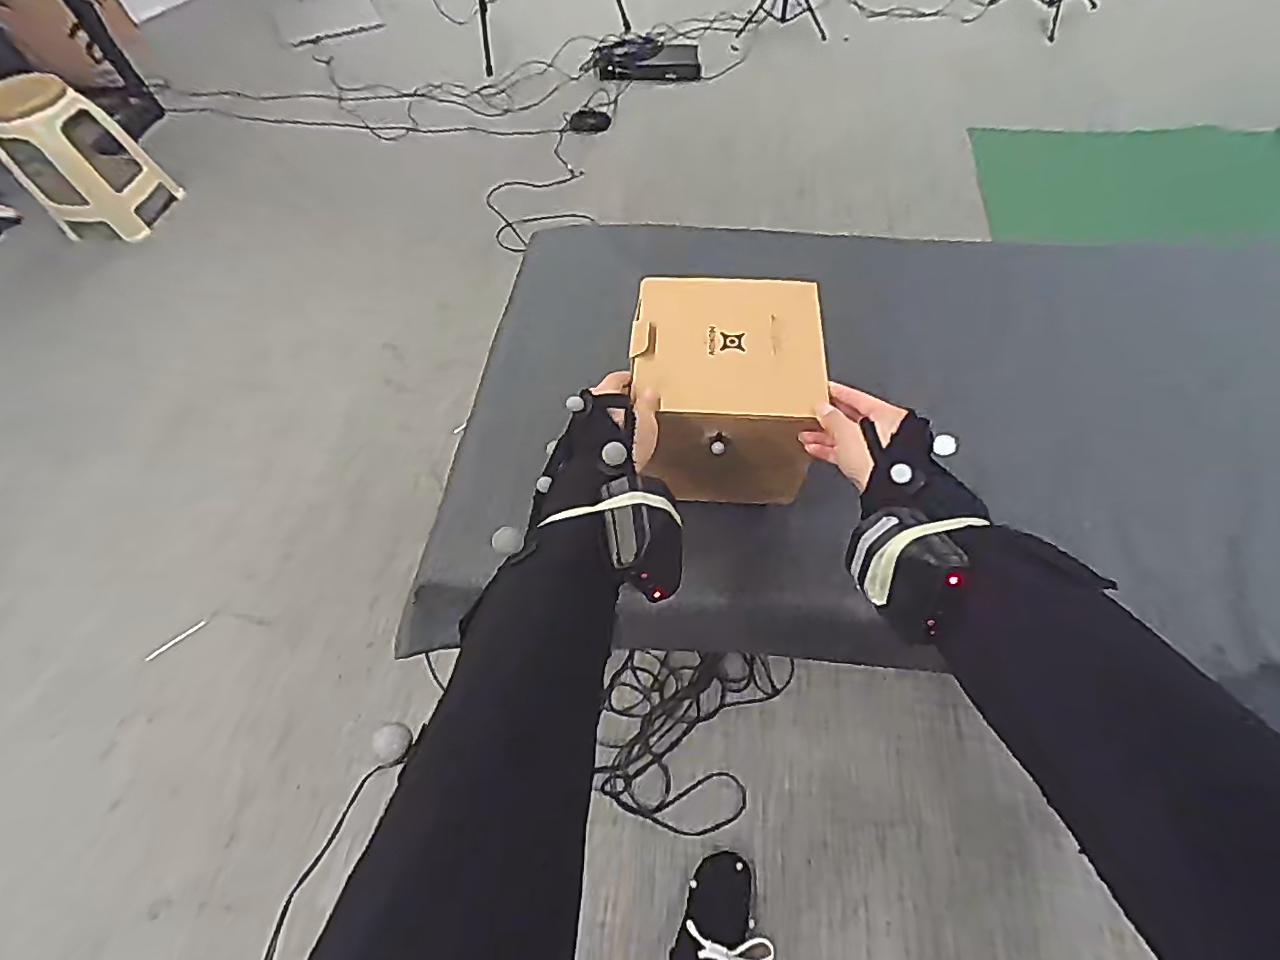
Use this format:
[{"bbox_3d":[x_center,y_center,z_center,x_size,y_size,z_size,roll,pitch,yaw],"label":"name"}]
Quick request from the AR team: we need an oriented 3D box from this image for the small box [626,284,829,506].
[{"bbox_3d":[0.083,-0.082,0.570,0.179,0.176,0.168,3,61,3],"label":"small box"}]
